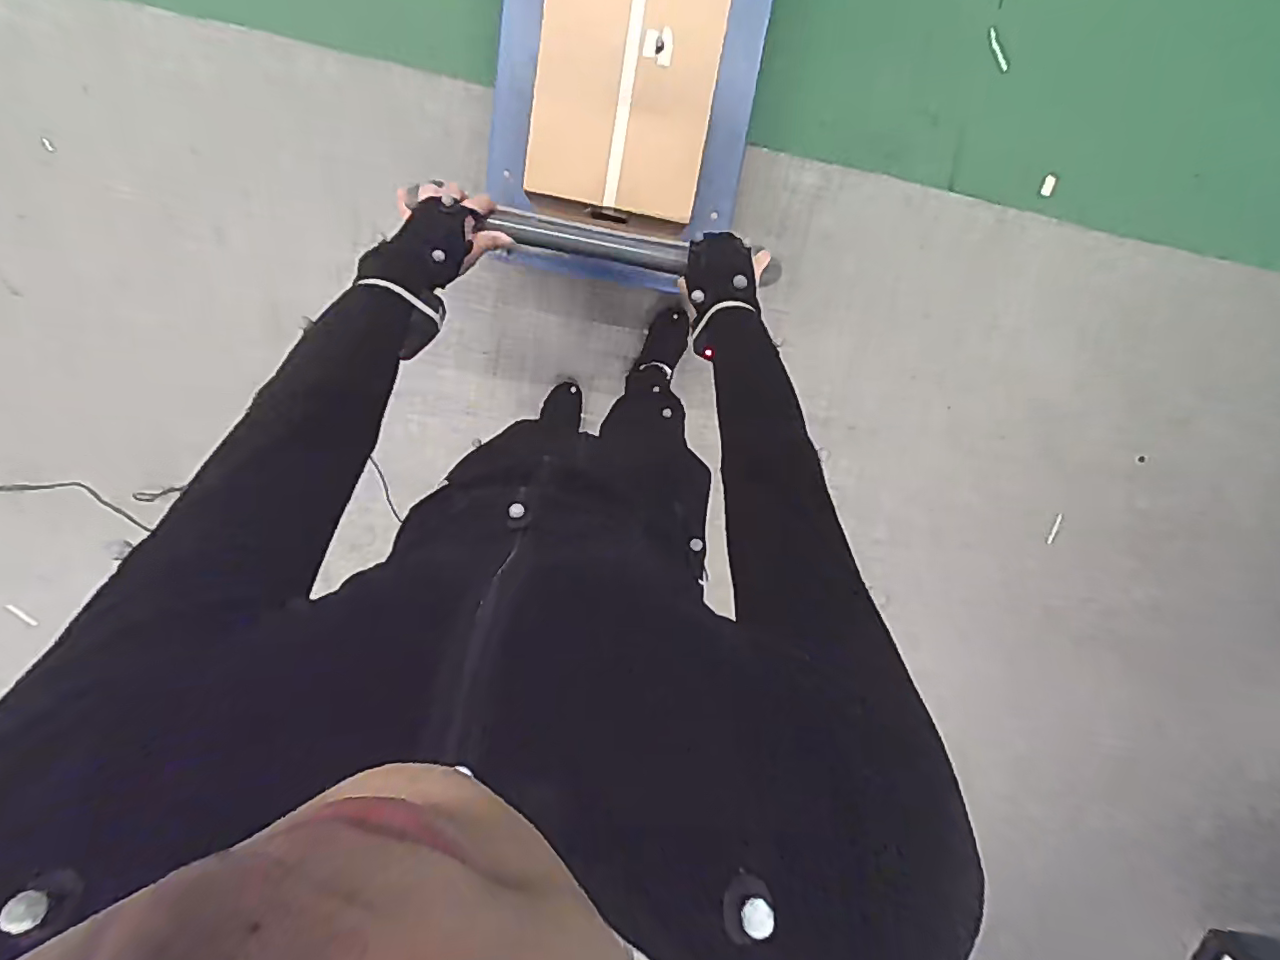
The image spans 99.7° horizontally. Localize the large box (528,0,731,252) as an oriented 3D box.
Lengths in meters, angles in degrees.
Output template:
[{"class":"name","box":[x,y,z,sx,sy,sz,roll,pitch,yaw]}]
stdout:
[{"class":"large box","box":[-0.028,-0.719,1.095,0.320,0.320,0.408,9,103,-6]}]
